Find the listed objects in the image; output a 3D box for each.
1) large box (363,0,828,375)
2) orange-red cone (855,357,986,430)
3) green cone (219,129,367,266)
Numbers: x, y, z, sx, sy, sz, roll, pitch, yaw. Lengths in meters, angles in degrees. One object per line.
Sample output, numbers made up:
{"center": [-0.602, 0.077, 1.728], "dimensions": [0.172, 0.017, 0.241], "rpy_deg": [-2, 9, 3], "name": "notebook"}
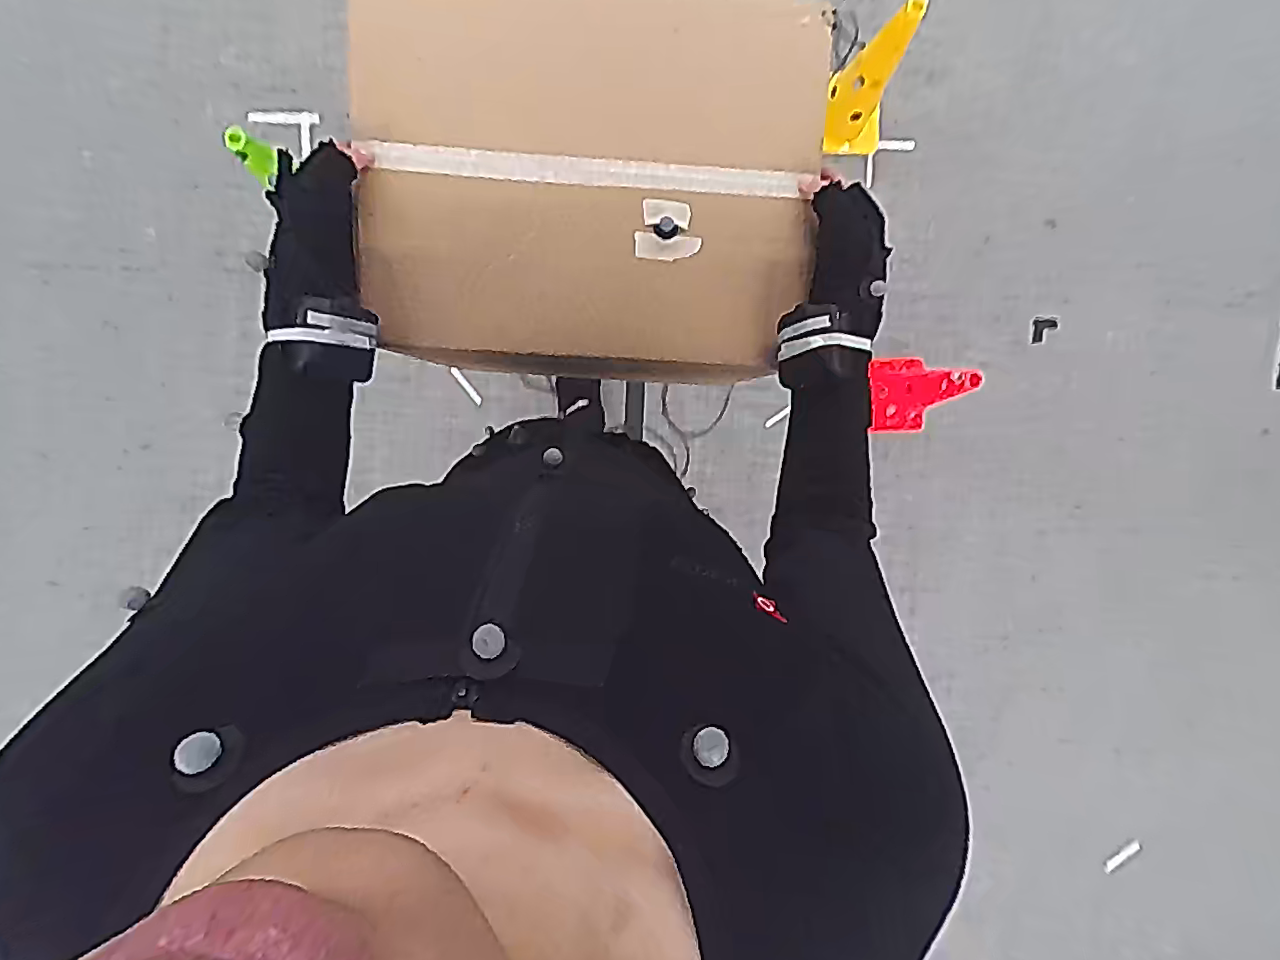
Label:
{"center": [-0.049, -0.294, 0.622], "dimensions": [0.408, 0.320, 0.320], "rpy_deg": [2, 97, -4], "name": "large box"}
{"center": [0.693, -0.230, 1.304], "dimensions": [0.198, 0.360, 0.199], "rpy_deg": [-1, 92, -4], "name": "orange-red cone"}
{"center": [-0.779, -0.663, 1.198], "dimensions": [0.202, 0.368, 0.200], "rpy_deg": [-36, 94, 1], "name": "green cone"}
